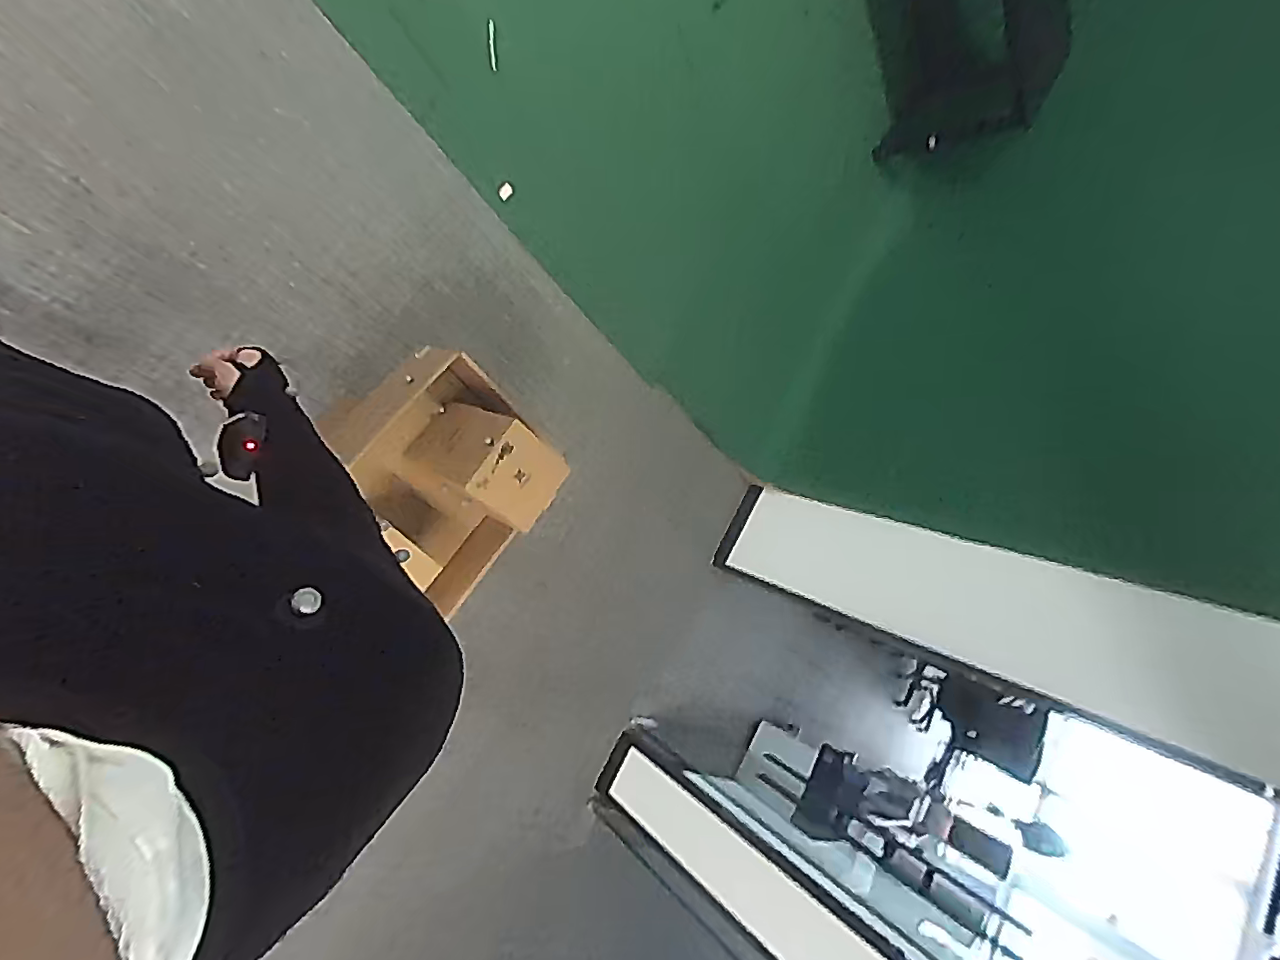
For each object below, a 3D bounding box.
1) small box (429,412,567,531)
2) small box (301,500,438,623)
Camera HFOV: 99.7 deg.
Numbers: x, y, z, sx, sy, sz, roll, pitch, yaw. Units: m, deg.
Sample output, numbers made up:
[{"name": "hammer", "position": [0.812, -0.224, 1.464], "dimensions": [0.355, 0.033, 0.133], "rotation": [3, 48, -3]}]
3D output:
[{"name": "small box", "position": [-0.292, -0.025, 1.112], "dimensions": [0.168, 0.176, 0.179], "rotation": [-57, 133, -16]}, {"name": "small box", "position": [-0.571, 0.165, 1.143], "dimensions": [0.168, 0.176, 0.179], "rotation": [-51, 130, -19]}]
